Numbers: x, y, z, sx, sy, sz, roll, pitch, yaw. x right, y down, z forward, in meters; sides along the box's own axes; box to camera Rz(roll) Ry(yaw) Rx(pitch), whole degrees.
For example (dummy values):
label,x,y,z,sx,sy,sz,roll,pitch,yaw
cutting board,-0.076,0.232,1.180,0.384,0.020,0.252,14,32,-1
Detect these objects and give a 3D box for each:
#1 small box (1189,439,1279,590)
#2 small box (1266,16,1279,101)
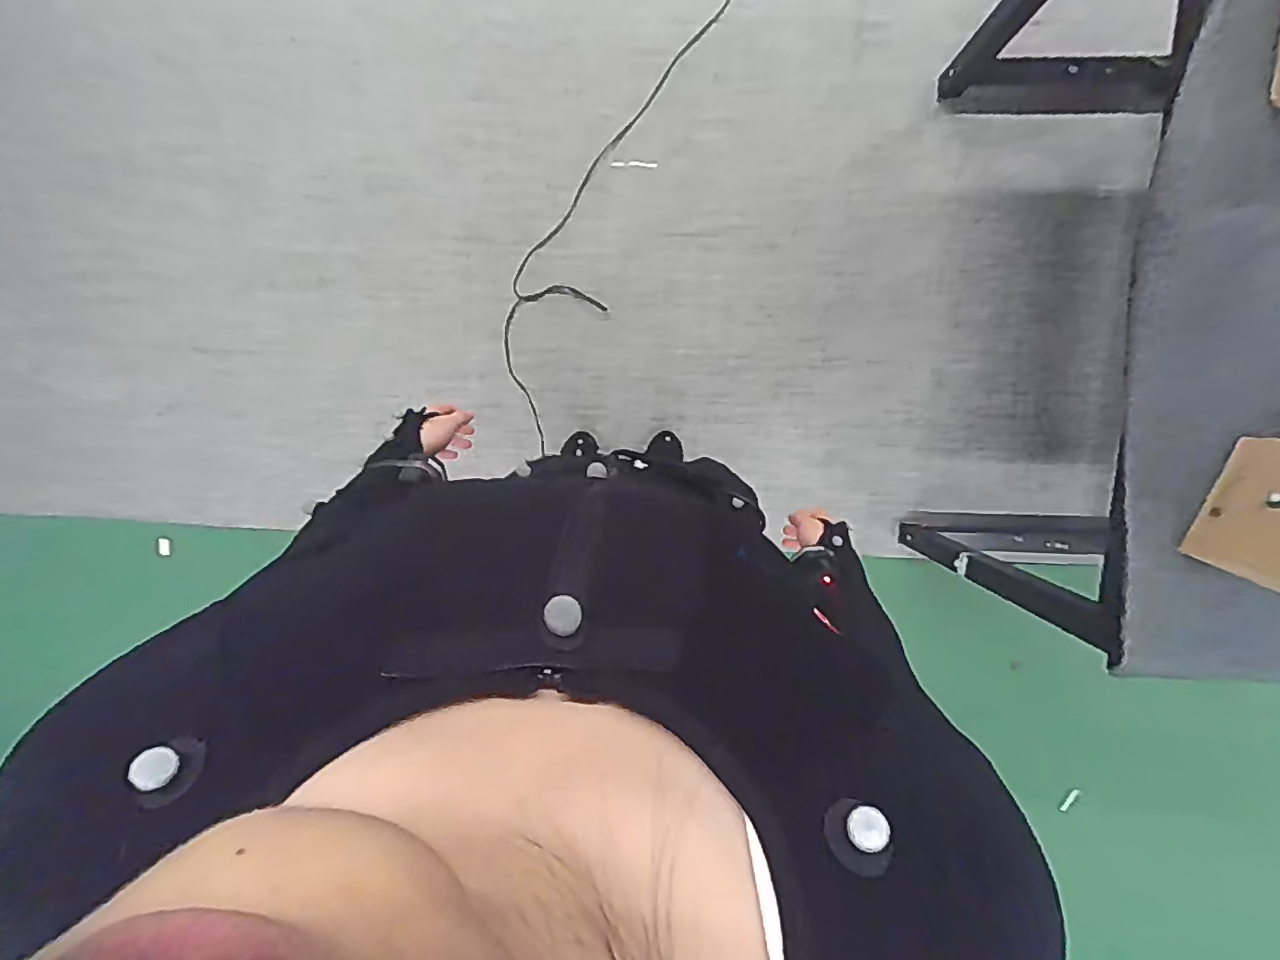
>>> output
label,x,y,z,sx,sy,sz,roll,pitch,yaw
small box,0.817,0.058,0.623,0.179,0.176,0.168,22,97,-2
small box,0.839,-0.521,0.559,0.179,0.176,0.168,2,97,1
